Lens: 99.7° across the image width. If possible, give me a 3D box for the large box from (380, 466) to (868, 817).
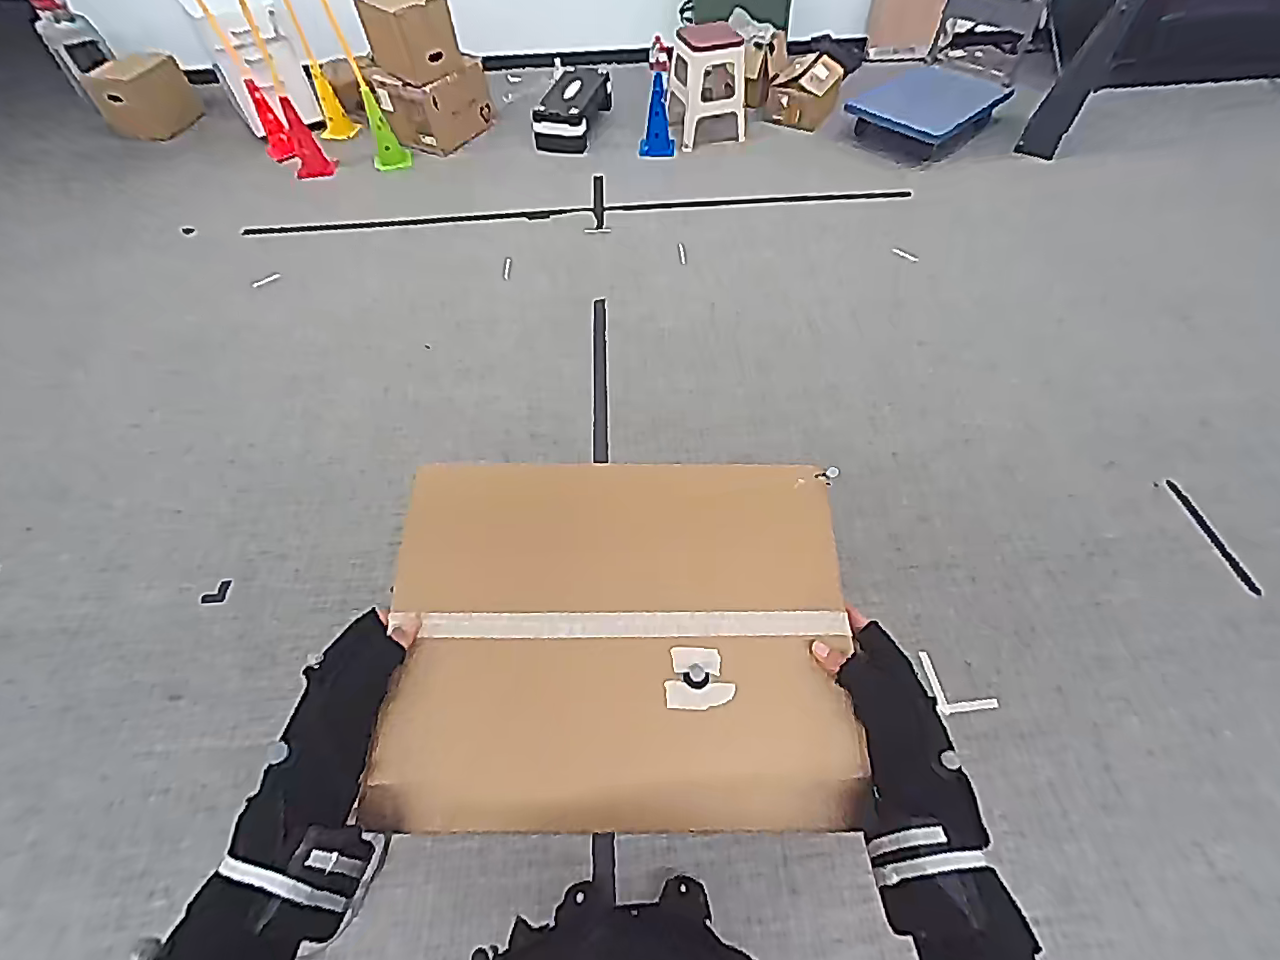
[{"bbox_3d":[-0.017,0.188,0.630,0.408,0.320,0.320,0,66,-1],"label":"large box"}]
